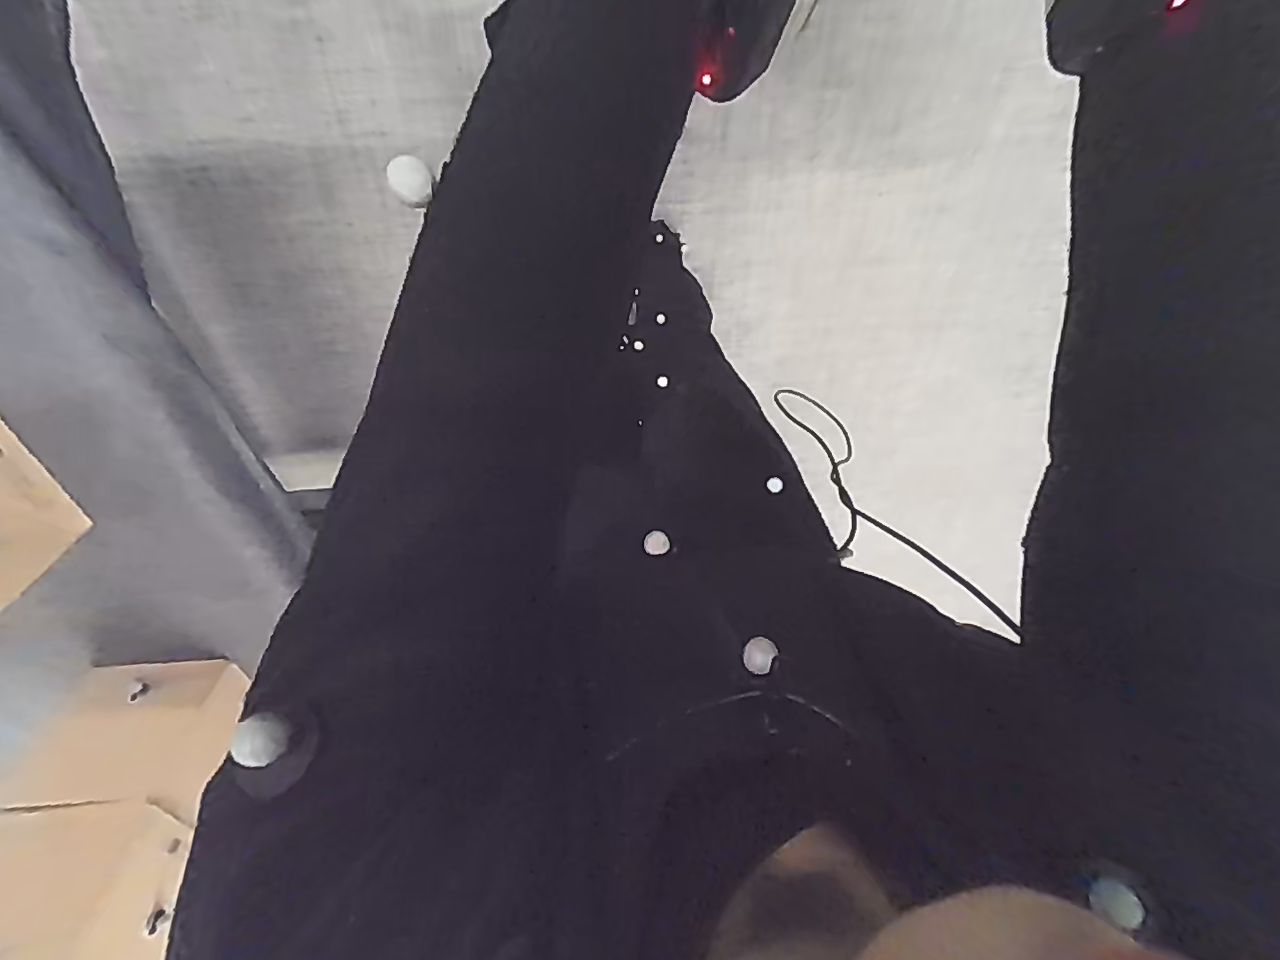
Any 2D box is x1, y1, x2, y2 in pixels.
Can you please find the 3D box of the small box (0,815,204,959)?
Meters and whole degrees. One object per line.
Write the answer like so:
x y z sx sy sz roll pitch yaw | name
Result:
-0.578 0.447 0.526 0.179 0.176 0.168 -3 128 -1 | small box

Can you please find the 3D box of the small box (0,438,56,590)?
-0.615 0.029 0.402 0.179 0.176 0.168 -2 129 -2 | small box

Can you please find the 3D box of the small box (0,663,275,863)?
-0.594 0.340 0.650 0.179 0.176 0.168 -4 129 0 | small box
